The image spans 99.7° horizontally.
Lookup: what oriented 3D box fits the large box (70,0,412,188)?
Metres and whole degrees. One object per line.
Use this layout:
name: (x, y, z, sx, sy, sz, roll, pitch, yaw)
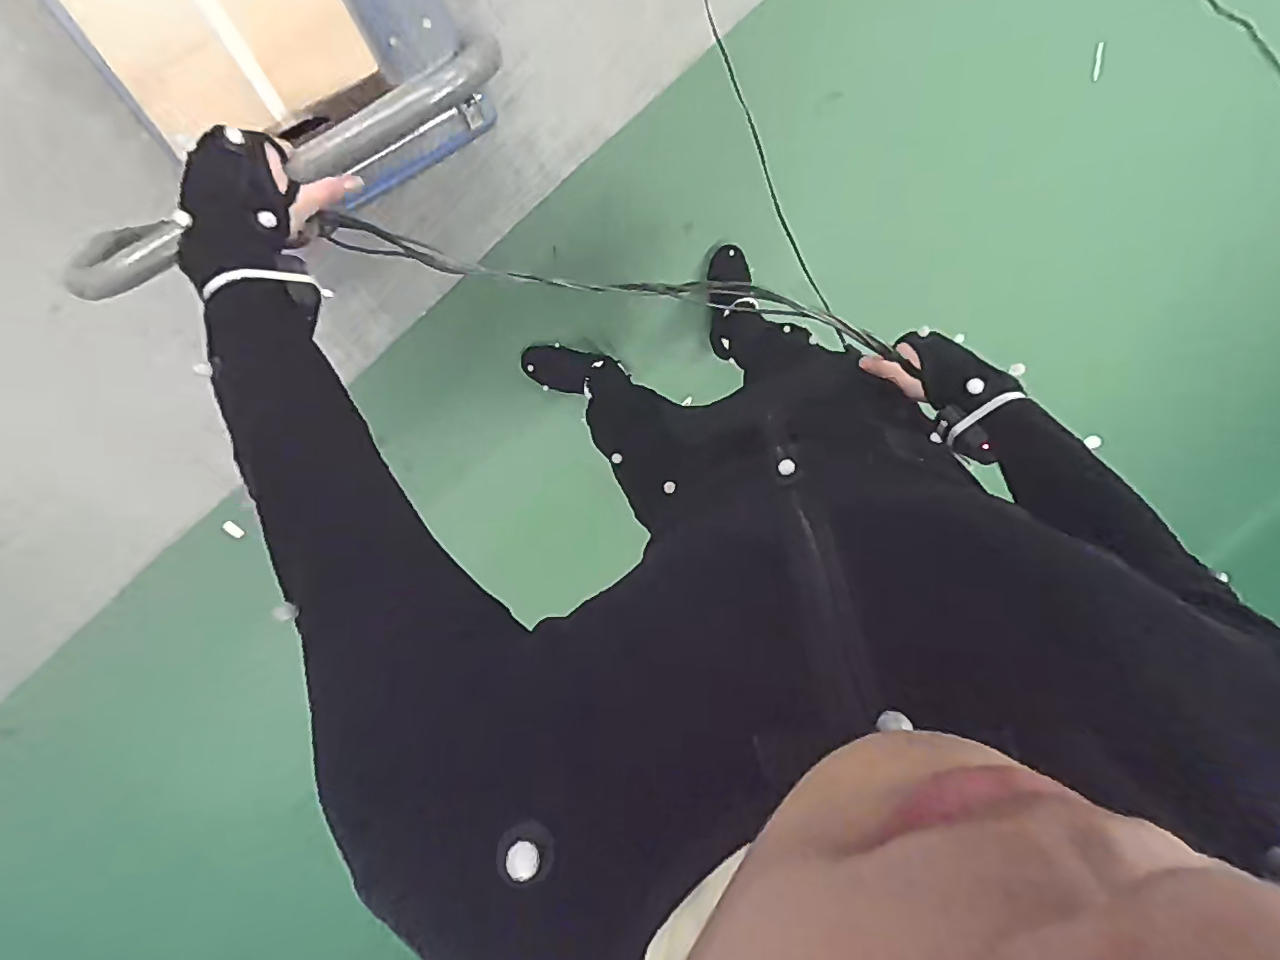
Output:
large box: (-0.620, -0.731, 0.832, 0.320, 0.320, 0.408, -28, 118, -2)
